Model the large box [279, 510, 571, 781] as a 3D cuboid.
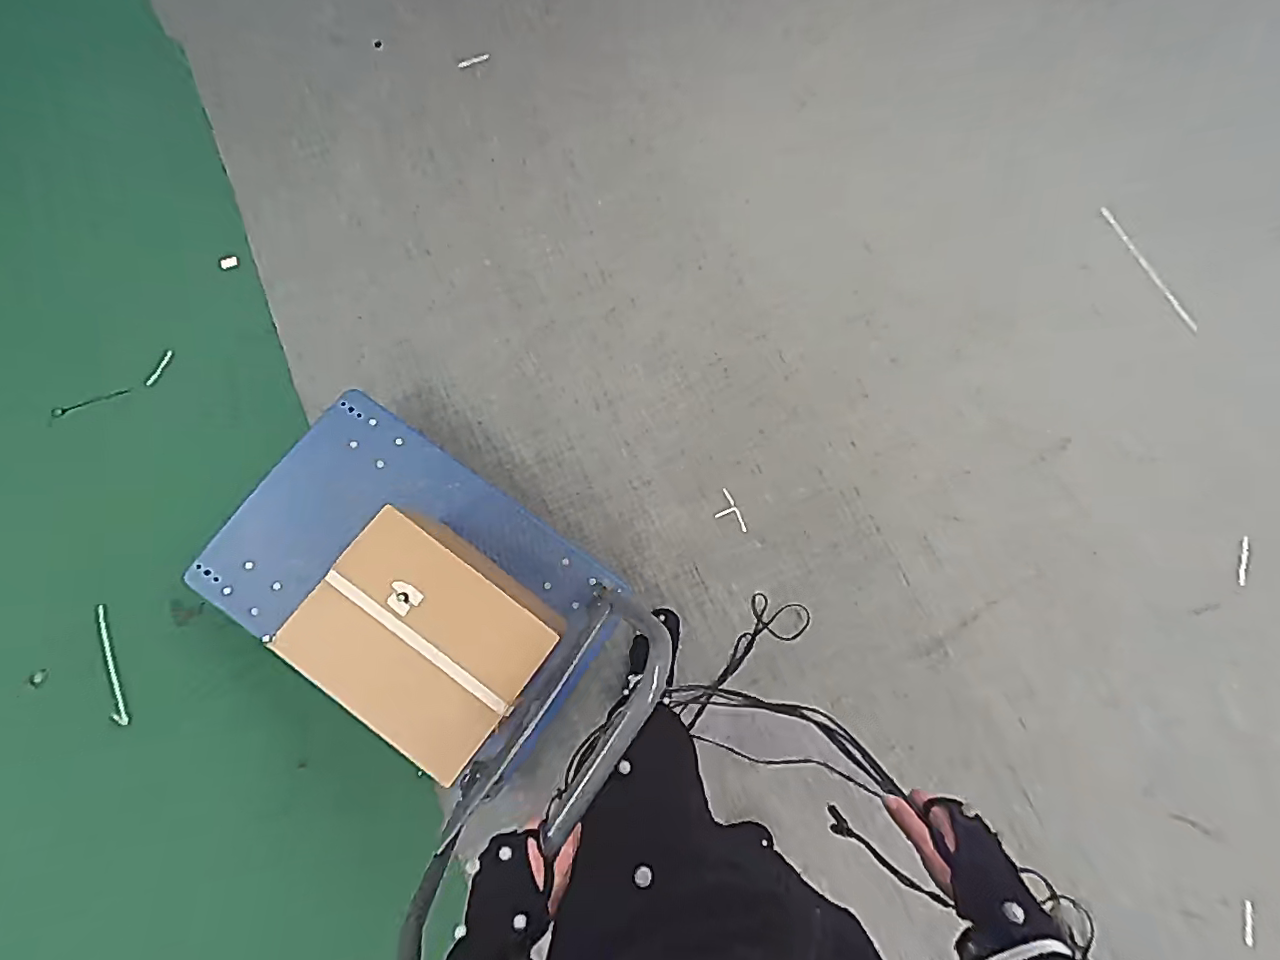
[{"bbox_3d":[-0.398,0.315,1.114,0.408,0.320,0.320,37,79,4],"label":"large box"}]
